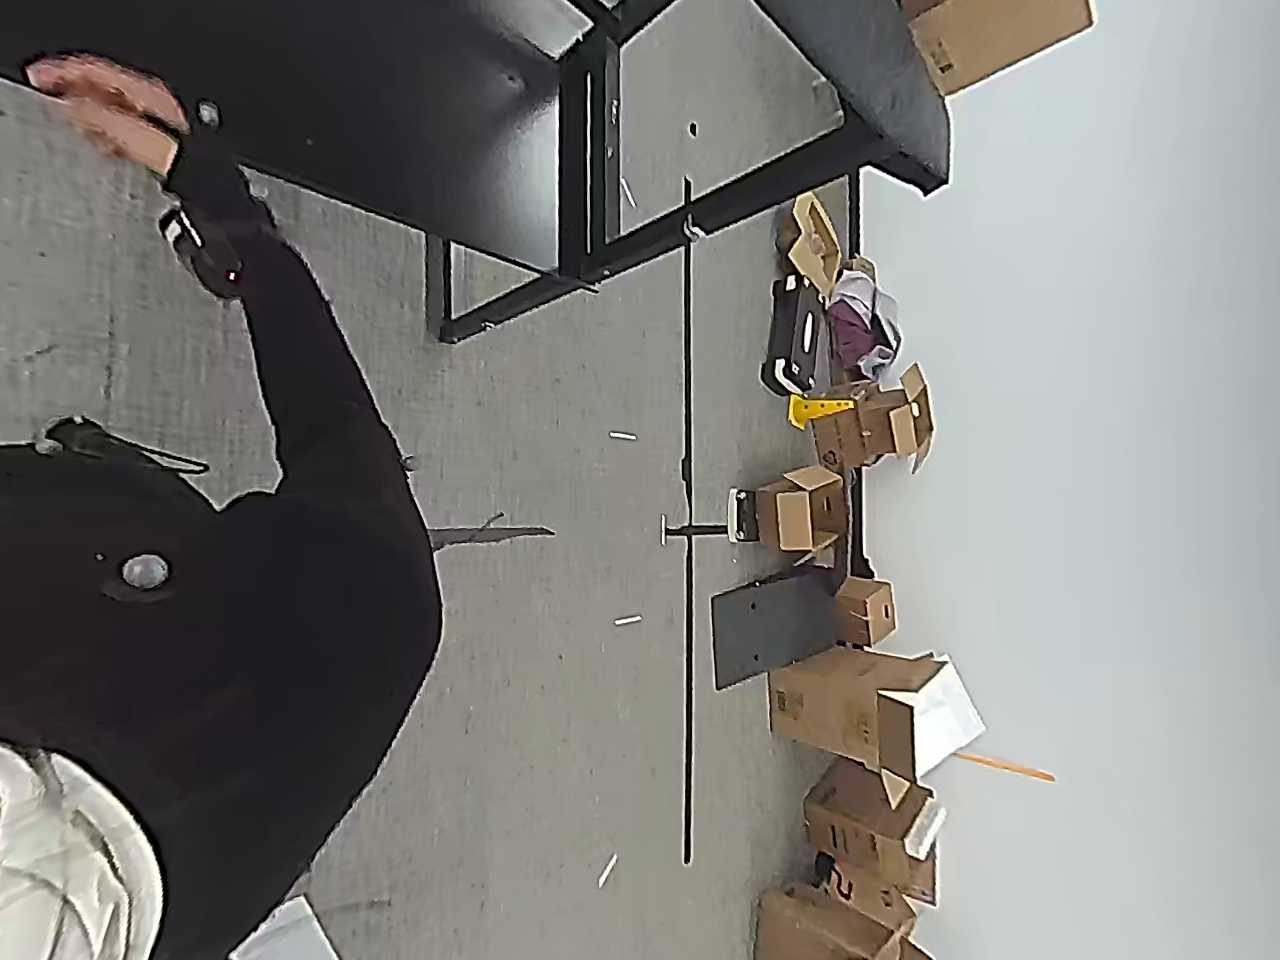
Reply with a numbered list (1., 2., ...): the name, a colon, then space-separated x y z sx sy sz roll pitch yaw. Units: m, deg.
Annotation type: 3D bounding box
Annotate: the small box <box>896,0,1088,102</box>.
1. small box: 0.423 -0.622 0.657 0.168 0.176 0.179 2 86 -45
